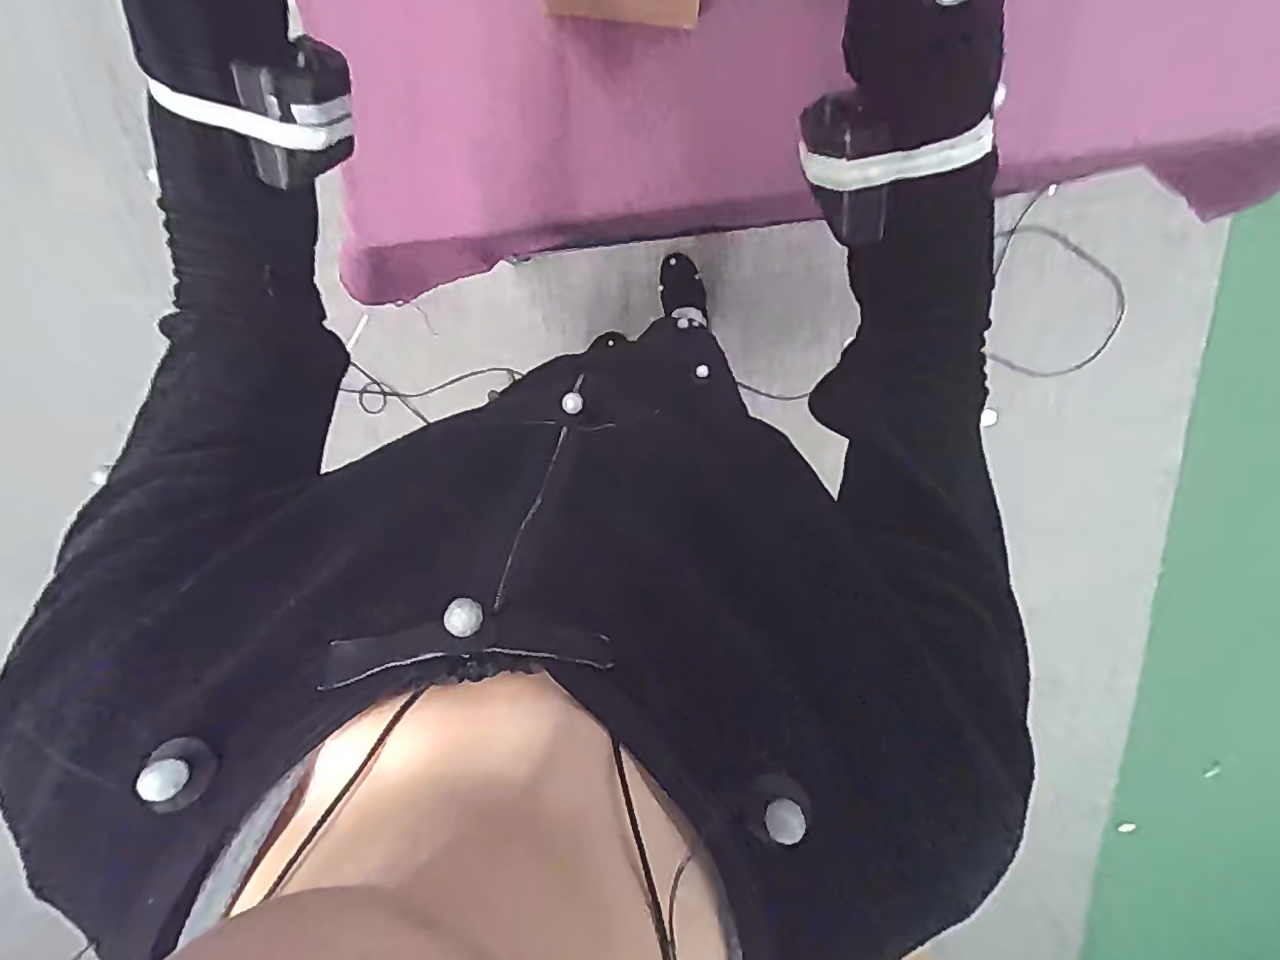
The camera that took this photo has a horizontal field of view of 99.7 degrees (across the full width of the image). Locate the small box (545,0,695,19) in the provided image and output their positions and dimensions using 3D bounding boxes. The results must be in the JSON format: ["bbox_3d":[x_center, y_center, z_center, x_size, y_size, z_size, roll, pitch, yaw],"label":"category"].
[{"bbox_3d":[-0.021,-0.574,0.505,0.179,0.176,0.168,4,108,-2],"label":"small box"}]
